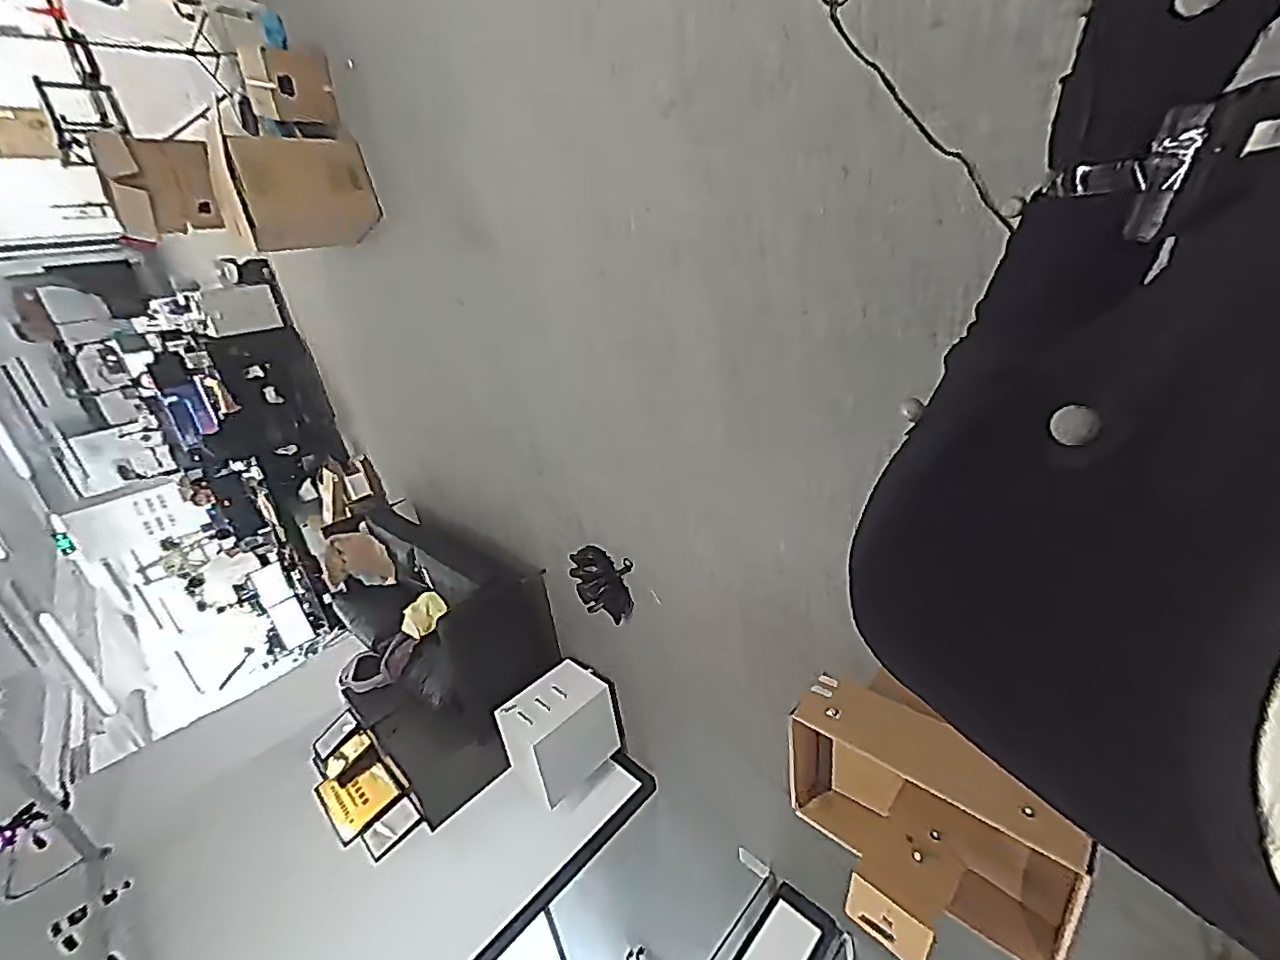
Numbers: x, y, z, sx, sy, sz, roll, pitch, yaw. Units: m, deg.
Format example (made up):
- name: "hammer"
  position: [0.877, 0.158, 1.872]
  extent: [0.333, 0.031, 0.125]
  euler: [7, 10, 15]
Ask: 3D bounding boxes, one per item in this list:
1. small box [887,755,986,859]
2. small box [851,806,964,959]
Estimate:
- name: "small box"
  position: [0.697, 0.809, 1.288]
  extent: [0.168, 0.176, 0.179]
  euler: [23, 130, 38]
- name: "small box"
  position: [0.586, 0.875, 1.186]
  extent: [0.168, 0.176, 0.179]
  euler: [21, 128, 40]
